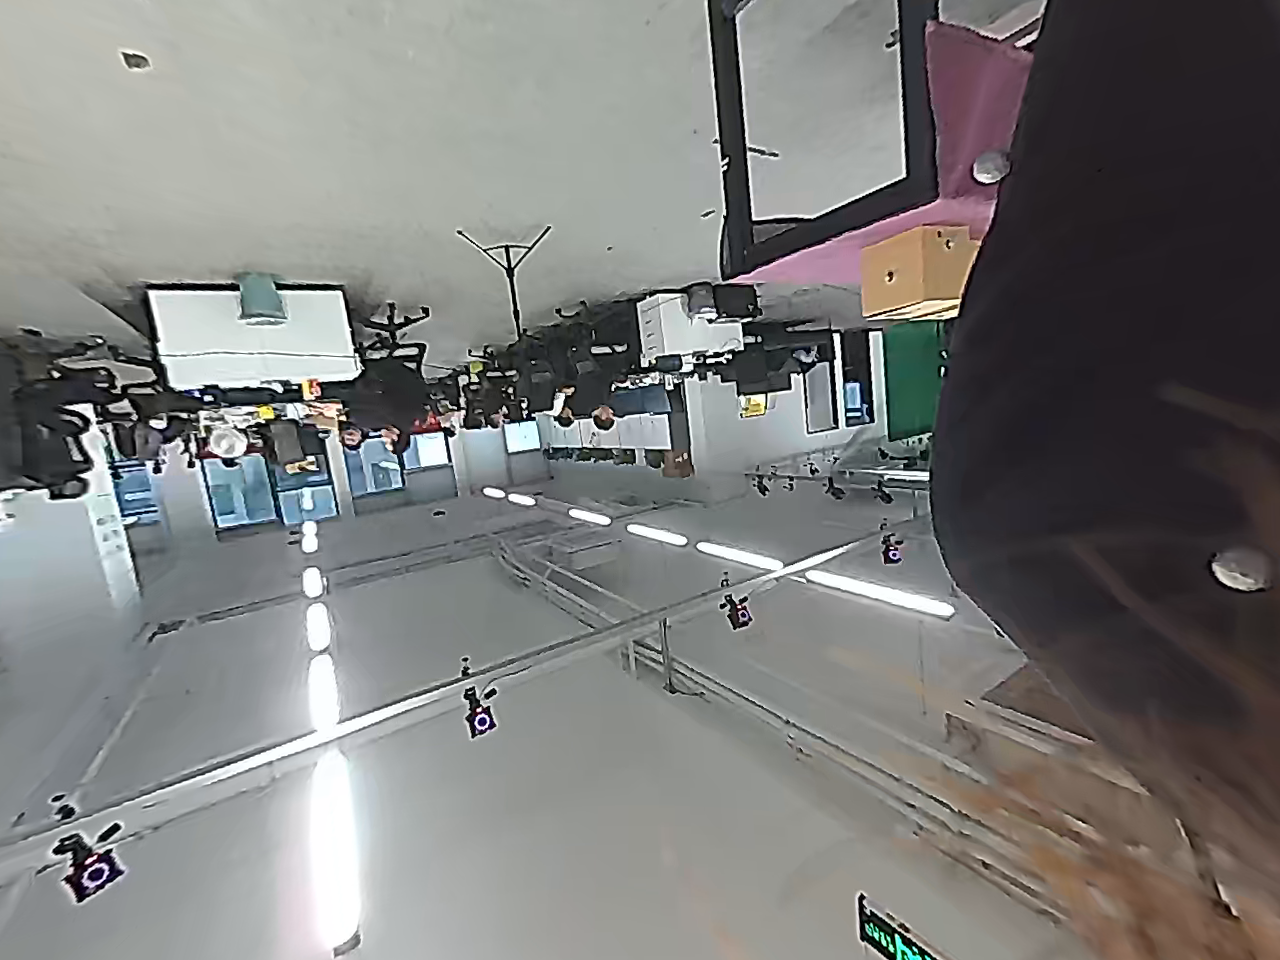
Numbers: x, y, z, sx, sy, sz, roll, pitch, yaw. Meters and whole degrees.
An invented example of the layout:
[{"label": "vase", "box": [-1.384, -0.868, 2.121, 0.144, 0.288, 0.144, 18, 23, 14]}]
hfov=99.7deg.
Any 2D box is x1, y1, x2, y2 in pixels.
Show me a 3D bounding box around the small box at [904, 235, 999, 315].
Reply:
[{"label": "small box", "box": [0.856, -0.558, 1.489, 0.168, 0.176, 0.179, -11, -172, -26]}]
